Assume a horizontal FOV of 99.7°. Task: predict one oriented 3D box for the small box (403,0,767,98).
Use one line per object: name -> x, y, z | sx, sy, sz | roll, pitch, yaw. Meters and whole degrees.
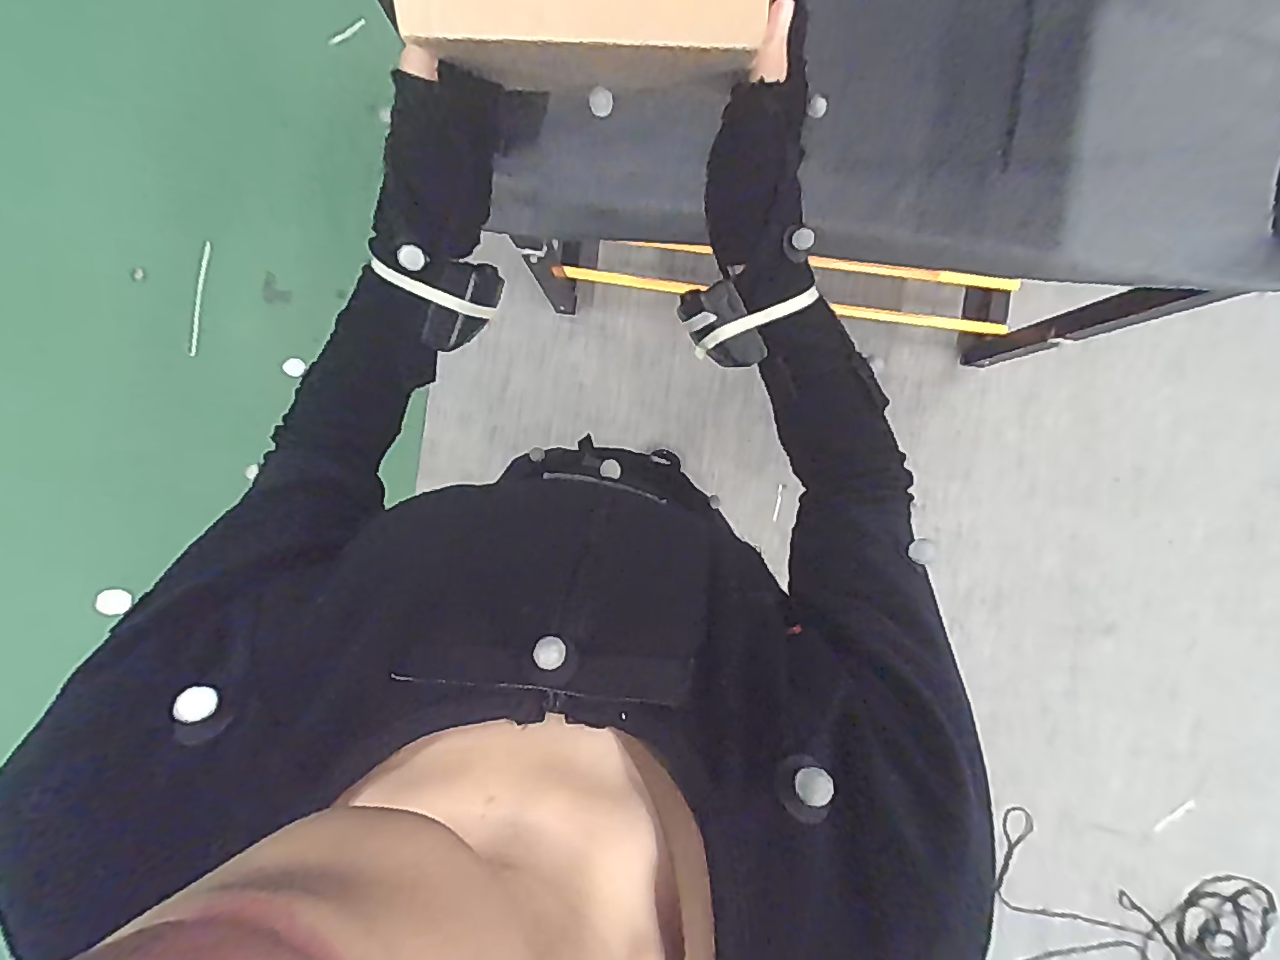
small box -> -0.017, -0.317, 0.275 | 0.168, 0.176, 0.179 | 4, 119, 3
